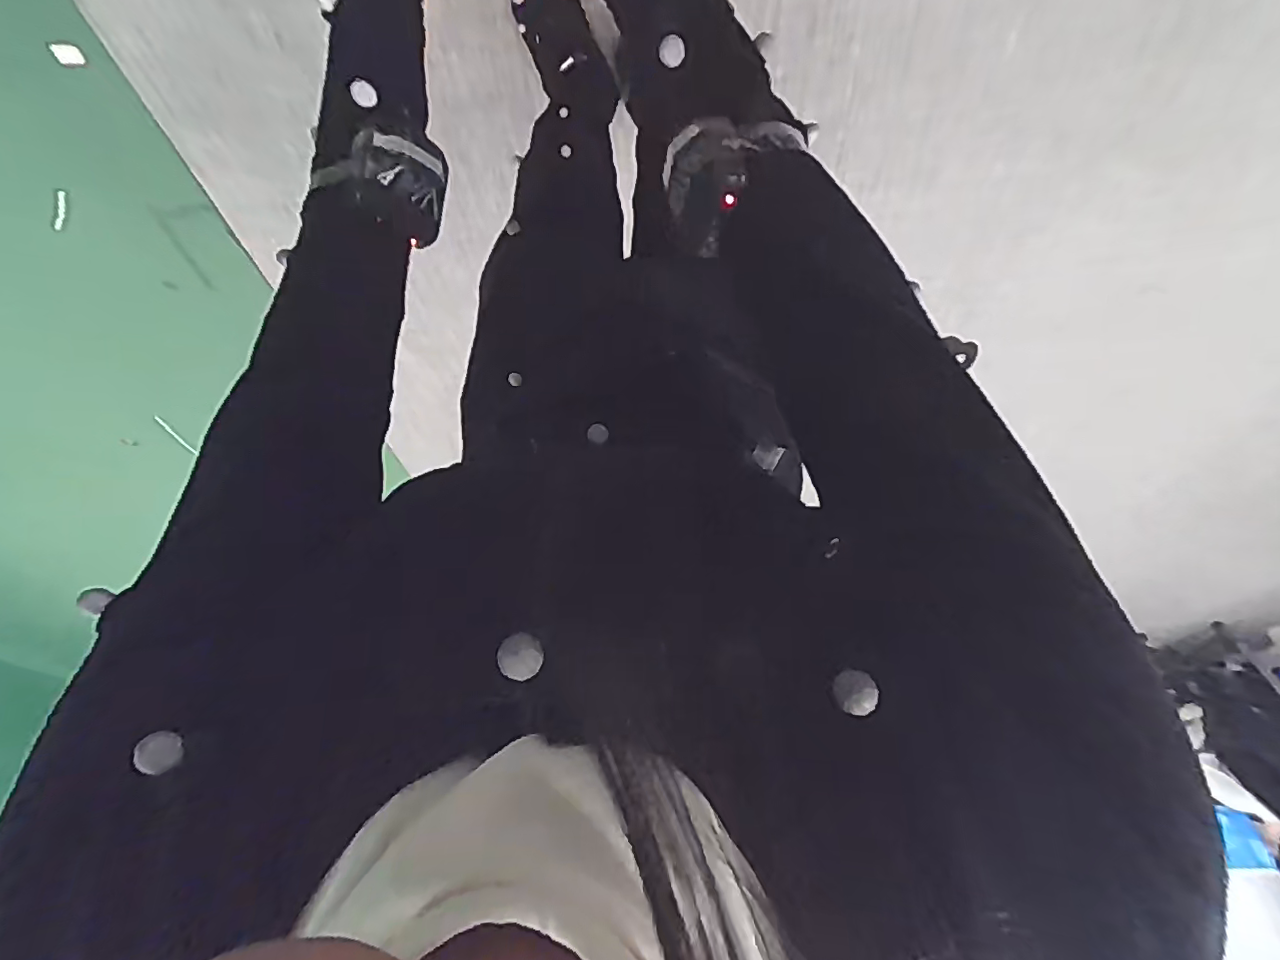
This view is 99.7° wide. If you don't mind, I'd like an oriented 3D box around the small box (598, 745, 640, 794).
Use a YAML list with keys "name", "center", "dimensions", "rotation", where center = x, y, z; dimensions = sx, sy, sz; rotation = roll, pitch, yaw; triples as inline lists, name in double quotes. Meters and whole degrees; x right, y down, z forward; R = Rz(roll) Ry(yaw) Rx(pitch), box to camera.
- name: "small box"
  center: [-0.089, 1.267, 2.369]
  dimensions: [0.168, 0.176, 0.179]
  rotation: [-3, 143, 5]
